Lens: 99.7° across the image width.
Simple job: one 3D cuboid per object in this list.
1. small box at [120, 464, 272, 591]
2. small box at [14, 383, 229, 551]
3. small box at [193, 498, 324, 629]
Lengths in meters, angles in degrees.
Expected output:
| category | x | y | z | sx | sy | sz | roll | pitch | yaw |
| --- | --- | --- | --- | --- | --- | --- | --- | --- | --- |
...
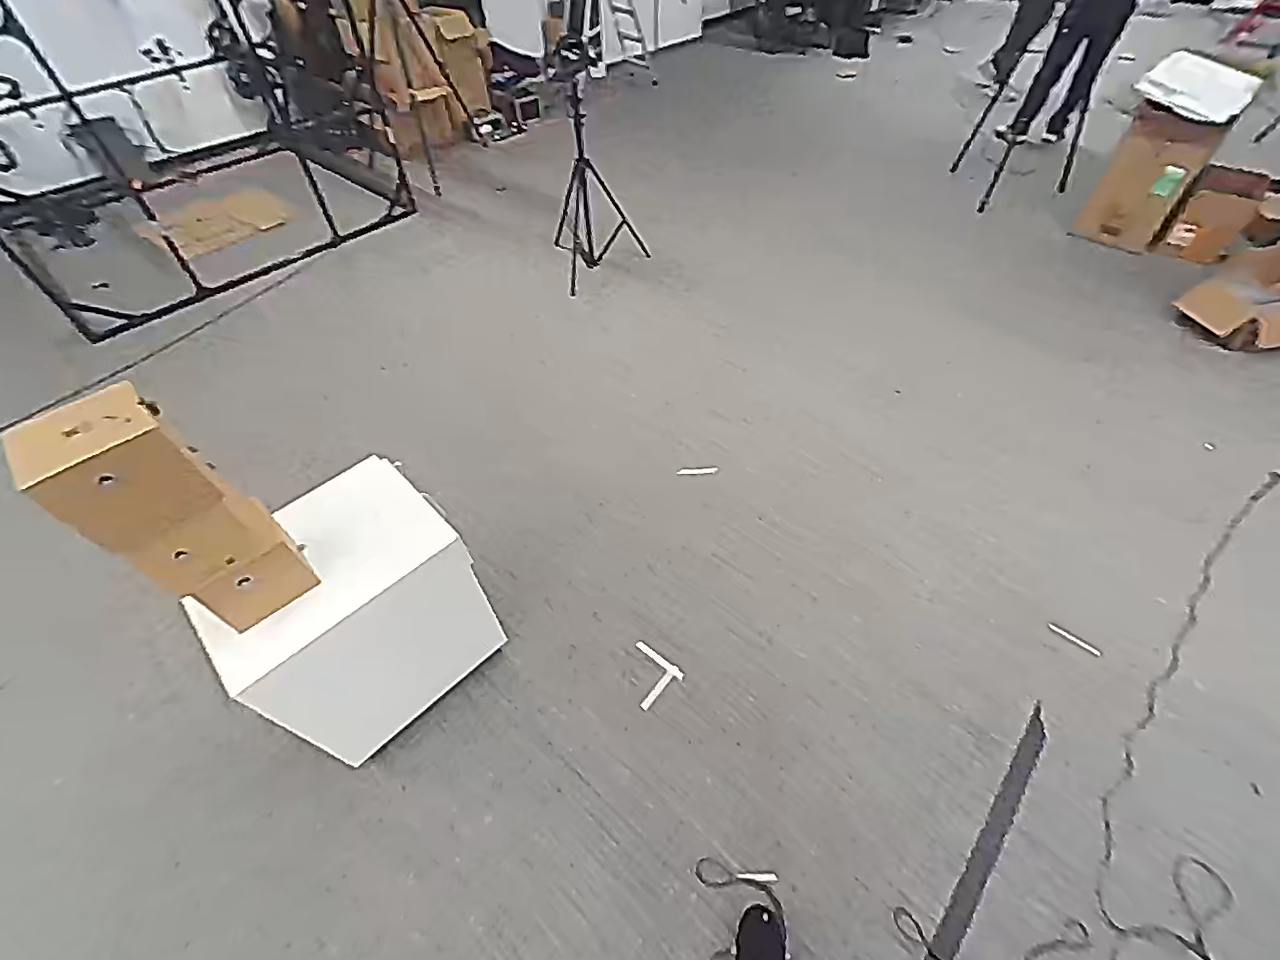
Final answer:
| category | x | y | z | sx | sy | sz | roll | pitch | yaw |
| --- | --- | --- | --- | --- | --- | --- | --- | --- | --- |
| small box | -0.831 | 0.082 | 1.007 | 0.168 | 0.176 | 0.179 | -35 | 56 | -25 |
| small box | -0.826 | -0.019 | 0.875 | 0.179 | 0.176 | 0.168 | -37 | 58 | -27 |
| small box | -0.814 | 0.178 | 1.137 | 0.179 | 0.176 | 0.168 | -36 | 57 | -27 |
